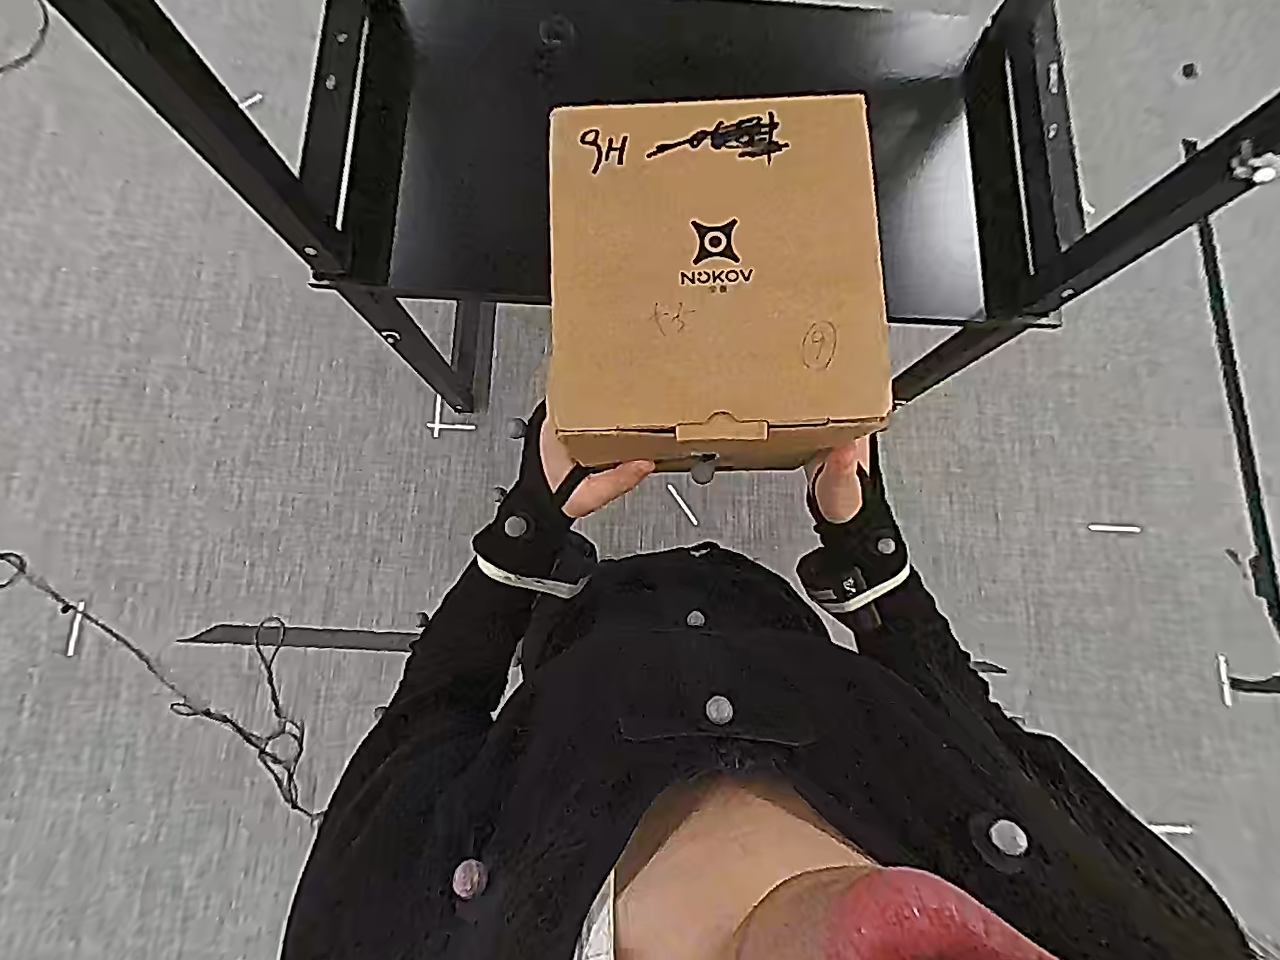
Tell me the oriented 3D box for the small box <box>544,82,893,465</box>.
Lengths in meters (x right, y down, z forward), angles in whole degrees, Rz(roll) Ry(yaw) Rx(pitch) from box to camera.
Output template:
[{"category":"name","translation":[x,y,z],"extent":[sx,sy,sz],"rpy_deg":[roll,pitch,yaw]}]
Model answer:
[{"category":"small box","translation":[0.037,-0.102,0.341],"extent":[0.168,0.176,0.179],"rpy_deg":[-2,86,-1]}]
